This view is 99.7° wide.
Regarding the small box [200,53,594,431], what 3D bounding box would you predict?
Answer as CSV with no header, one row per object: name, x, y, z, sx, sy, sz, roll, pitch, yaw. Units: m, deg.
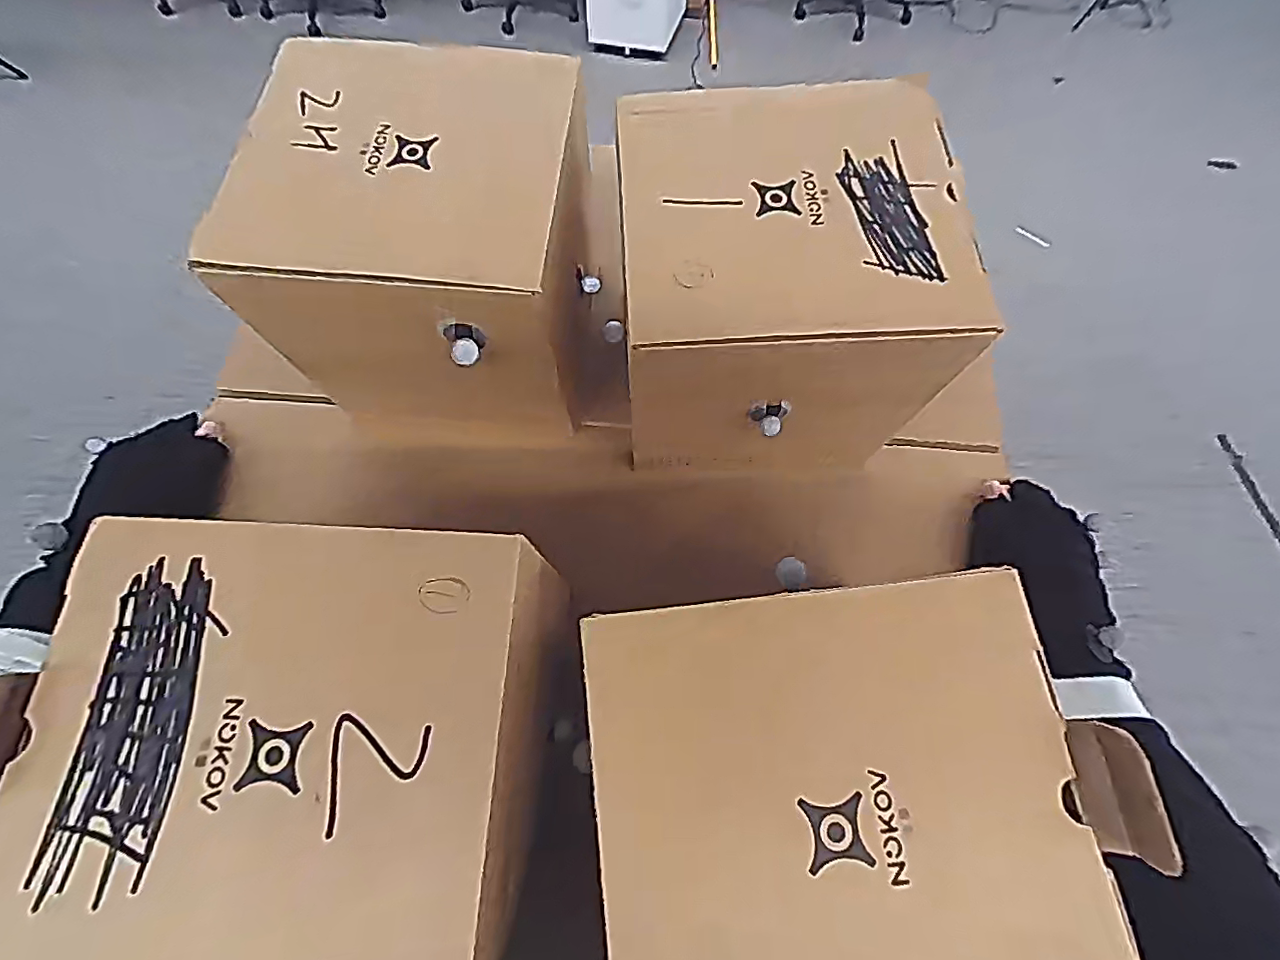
small box,-0.130,-0.145,0.374,0.179,0.176,0.168,6,70,2
